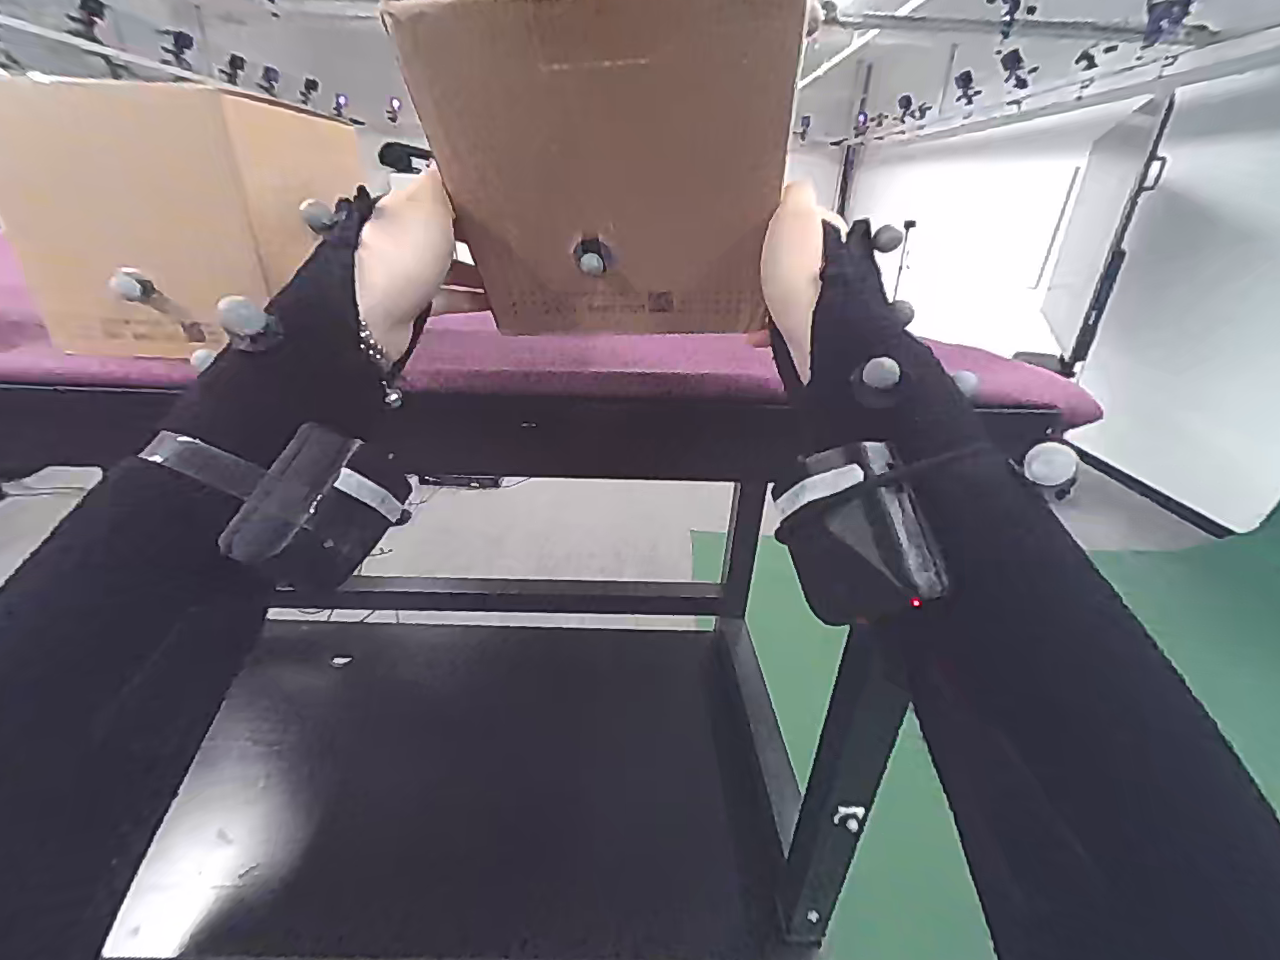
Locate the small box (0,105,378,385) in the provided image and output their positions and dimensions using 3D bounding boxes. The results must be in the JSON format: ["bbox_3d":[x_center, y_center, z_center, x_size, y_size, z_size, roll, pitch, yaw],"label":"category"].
[{"bbox_3d":[-0.332,-0.186,0.435,0.168,0.176,0.179,2,29,-1],"label":"small box"}]

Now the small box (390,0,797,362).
[{"bbox_3d":[-0.009,-0.193,0.322,0.168,0.176,0.179,1,57,7],"label":"small box"}]
